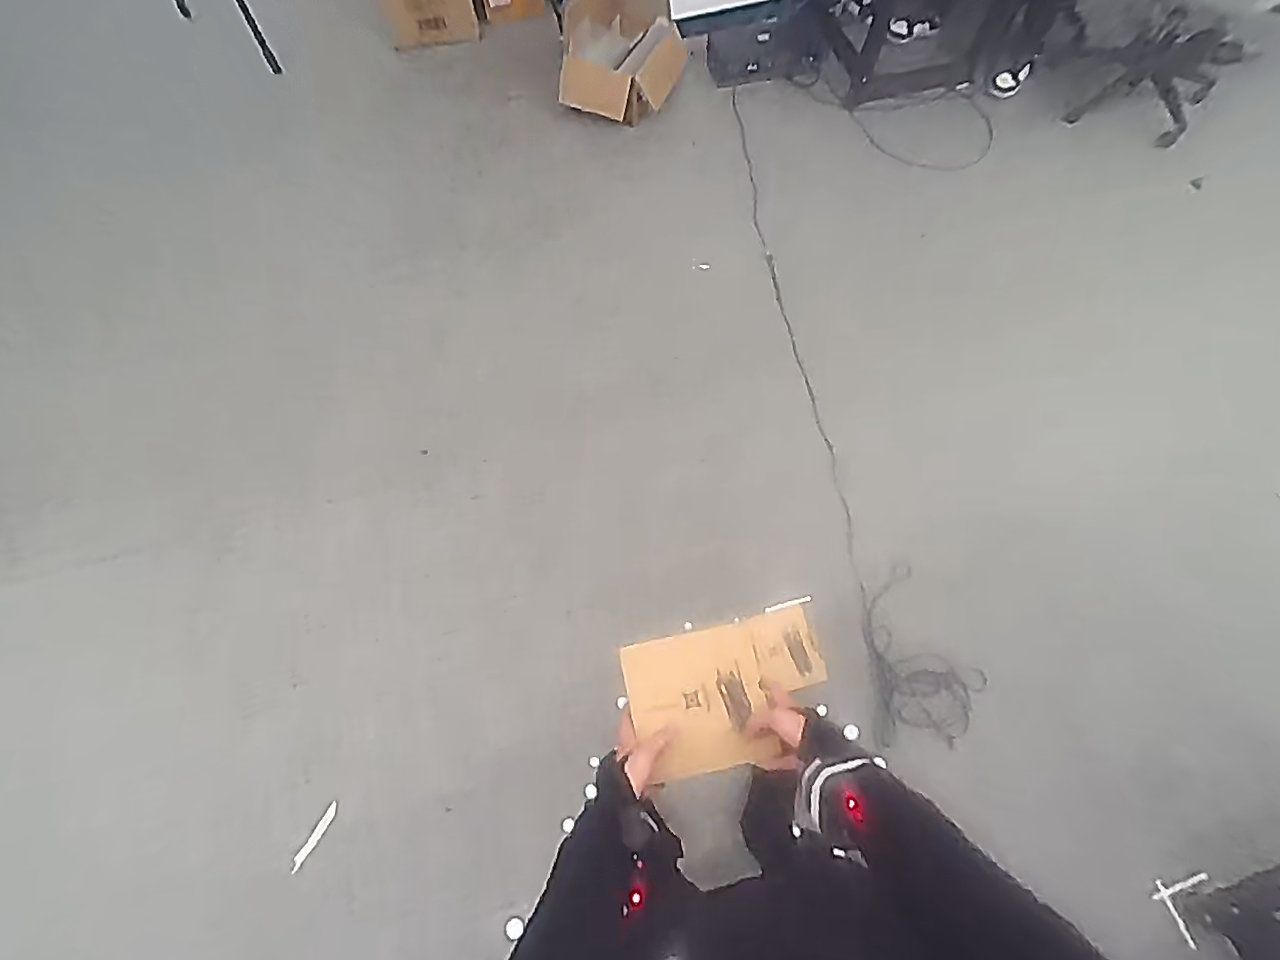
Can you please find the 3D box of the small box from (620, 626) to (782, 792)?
[{"bbox_3d":[0.071,0.301,0.745,0.179,0.176,0.168,-11,73,-4],"label":"small box"}]
